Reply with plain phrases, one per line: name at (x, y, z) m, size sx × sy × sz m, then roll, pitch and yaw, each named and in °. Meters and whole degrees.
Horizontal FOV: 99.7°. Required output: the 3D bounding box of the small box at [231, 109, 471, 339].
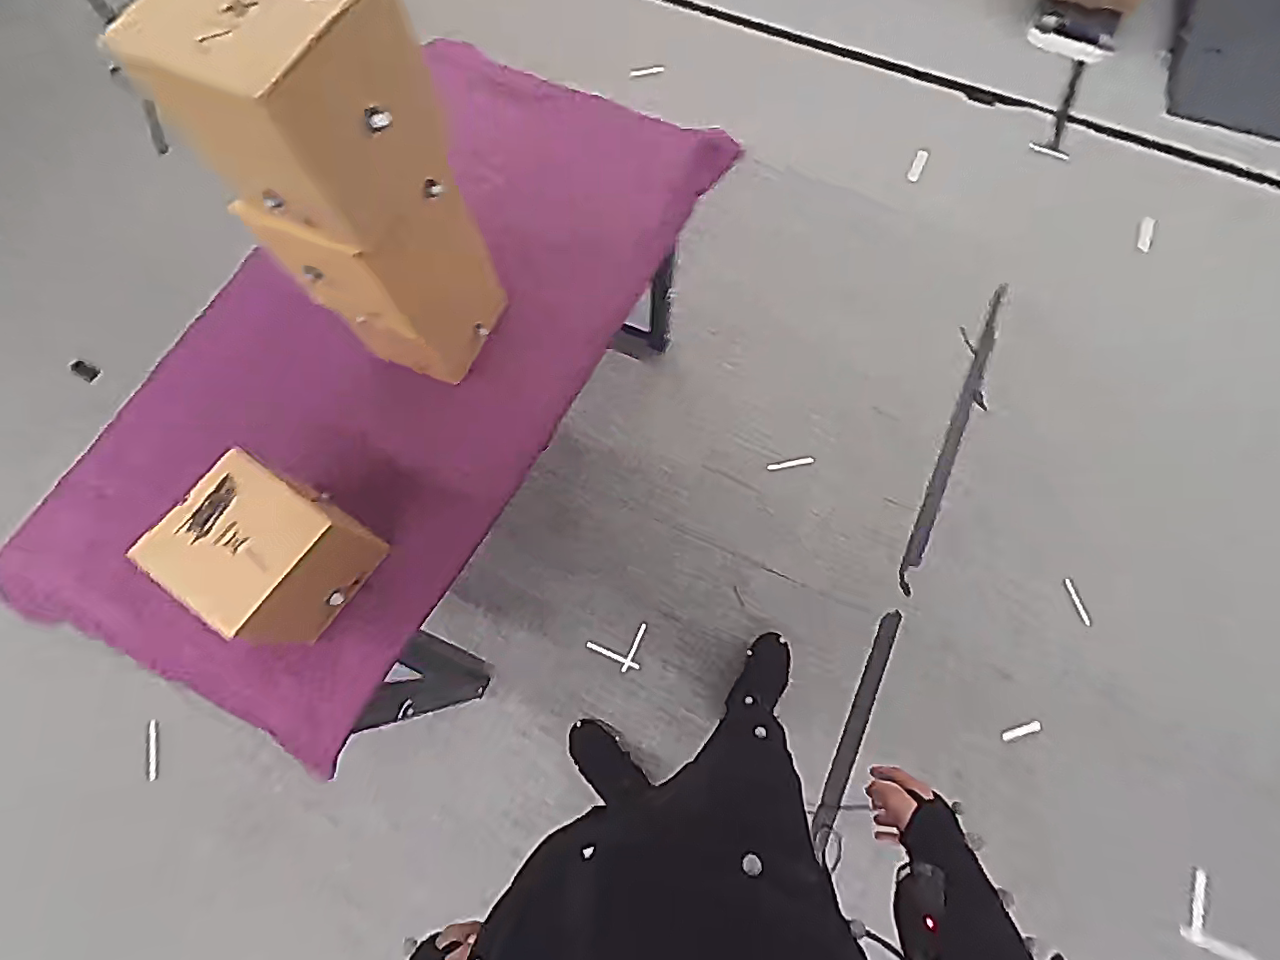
small box at (-0.337, -0.306, 0.675) m, size 0.168 × 0.176 × 0.179 m, roll 21°, pitch 73°, yaw 8°

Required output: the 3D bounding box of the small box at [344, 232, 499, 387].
small box at (-0.336, -0.276, 0.836) m, size 0.168 × 0.176 × 0.179 m, roll 21°, pitch 73°, yaw 9°

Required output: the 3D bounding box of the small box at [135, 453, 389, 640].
small box at (-0.480, 0.099, 0.716) m, size 0.179 × 0.176 × 0.168 m, roll 33°, pitch 75°, yaw 10°
